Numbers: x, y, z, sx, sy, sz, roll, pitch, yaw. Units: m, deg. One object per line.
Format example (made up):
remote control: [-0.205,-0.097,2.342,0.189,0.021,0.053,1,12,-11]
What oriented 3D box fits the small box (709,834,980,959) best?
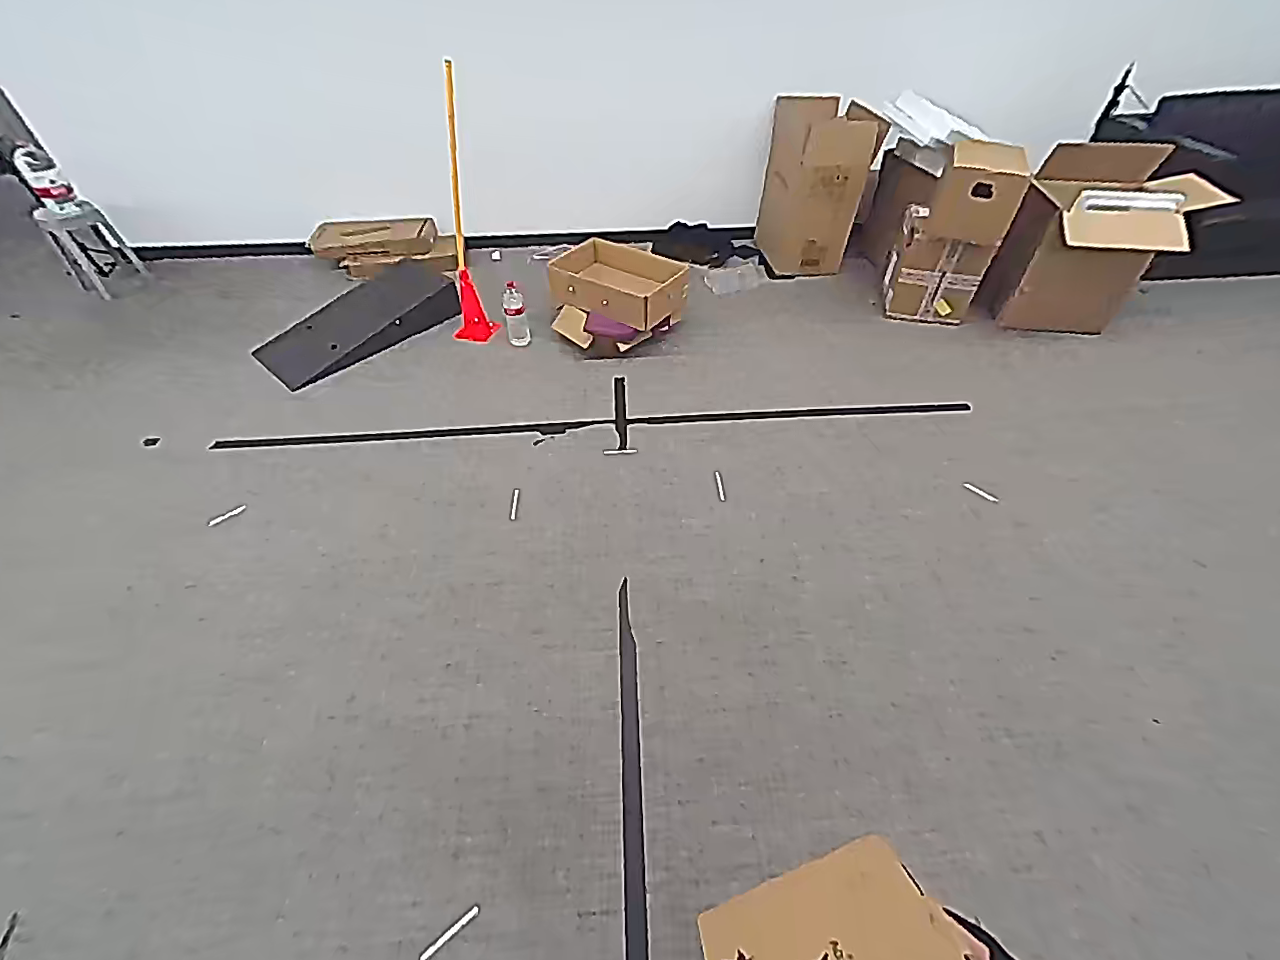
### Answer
small box: [0.173,0.424,0.401,0.179,0.176,0.168,-22,8,-1]
